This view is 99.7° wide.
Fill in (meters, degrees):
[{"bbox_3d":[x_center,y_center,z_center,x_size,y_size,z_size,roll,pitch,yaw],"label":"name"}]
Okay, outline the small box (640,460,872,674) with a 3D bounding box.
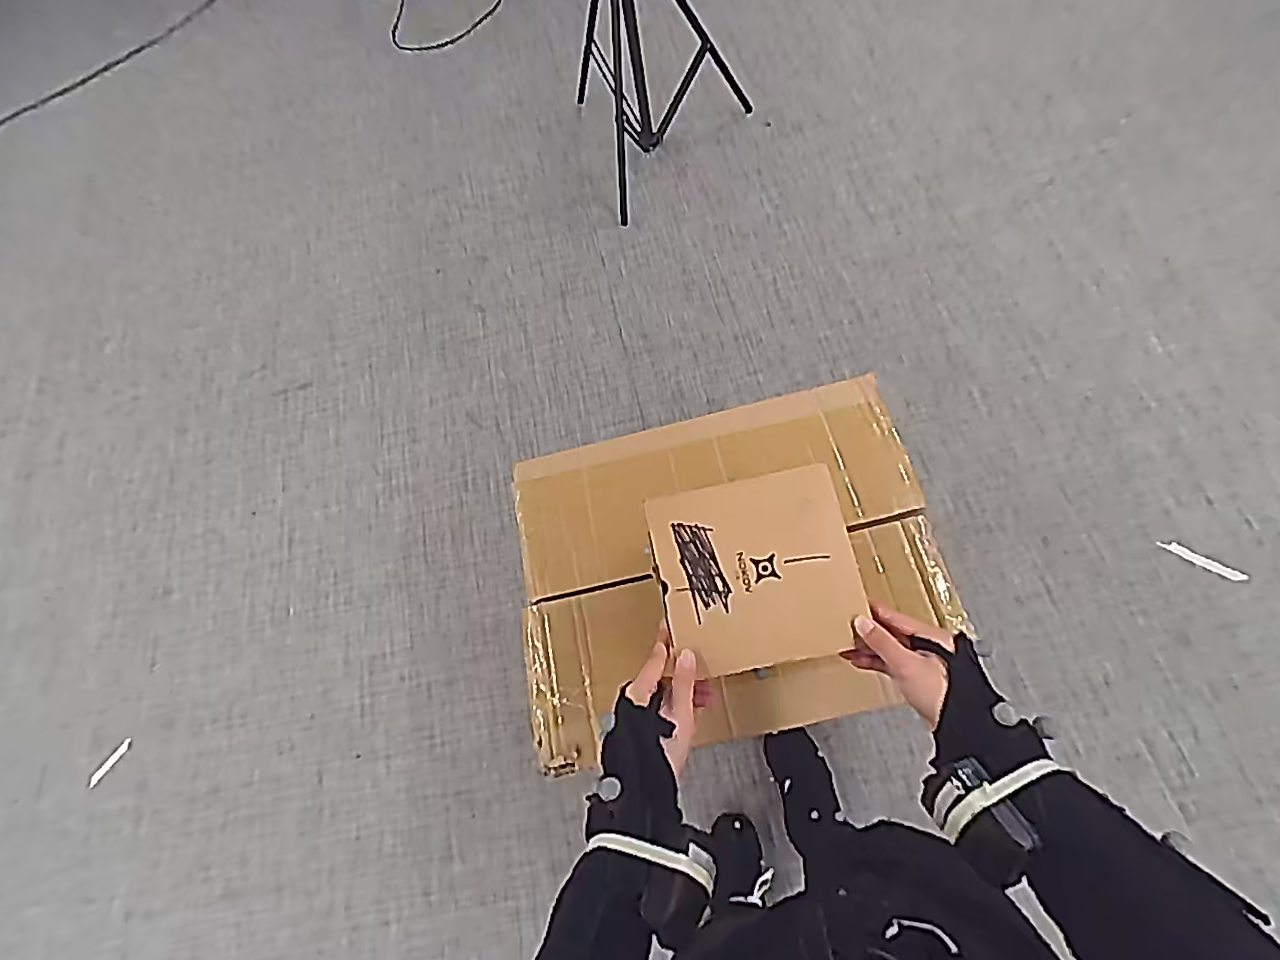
[{"bbox_3d":[0.106,0.094,0.557,0.179,0.176,0.168,-12,76,2],"label":"small box"}]
